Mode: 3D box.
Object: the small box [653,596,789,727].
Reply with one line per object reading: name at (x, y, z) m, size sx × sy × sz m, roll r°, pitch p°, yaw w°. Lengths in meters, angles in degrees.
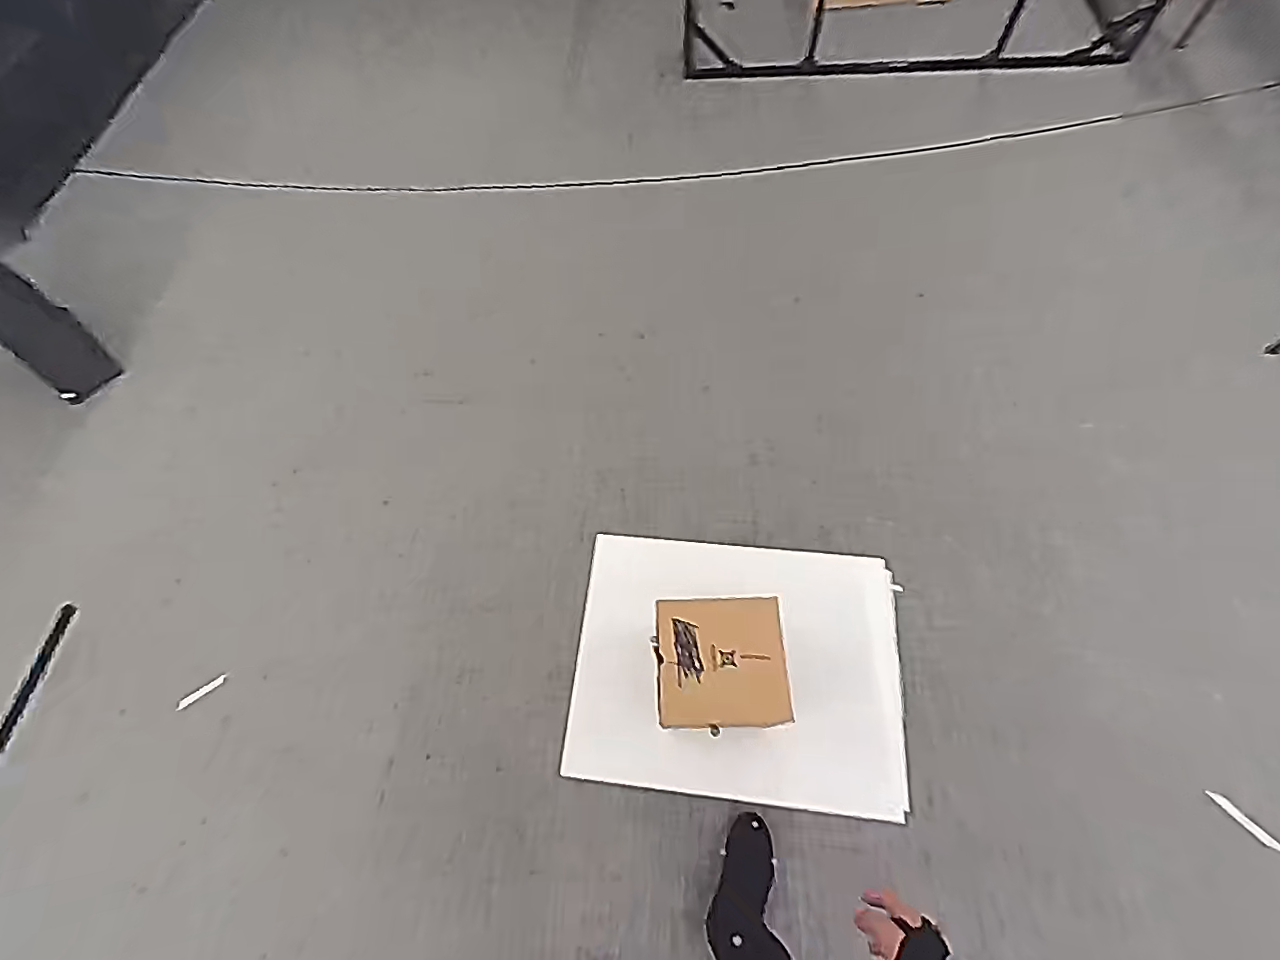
small box at (0.111, 0.276, 0.807) m, size 0.179 × 0.176 × 0.168 m, roll -2°, pitch 64°, yaw 2°
